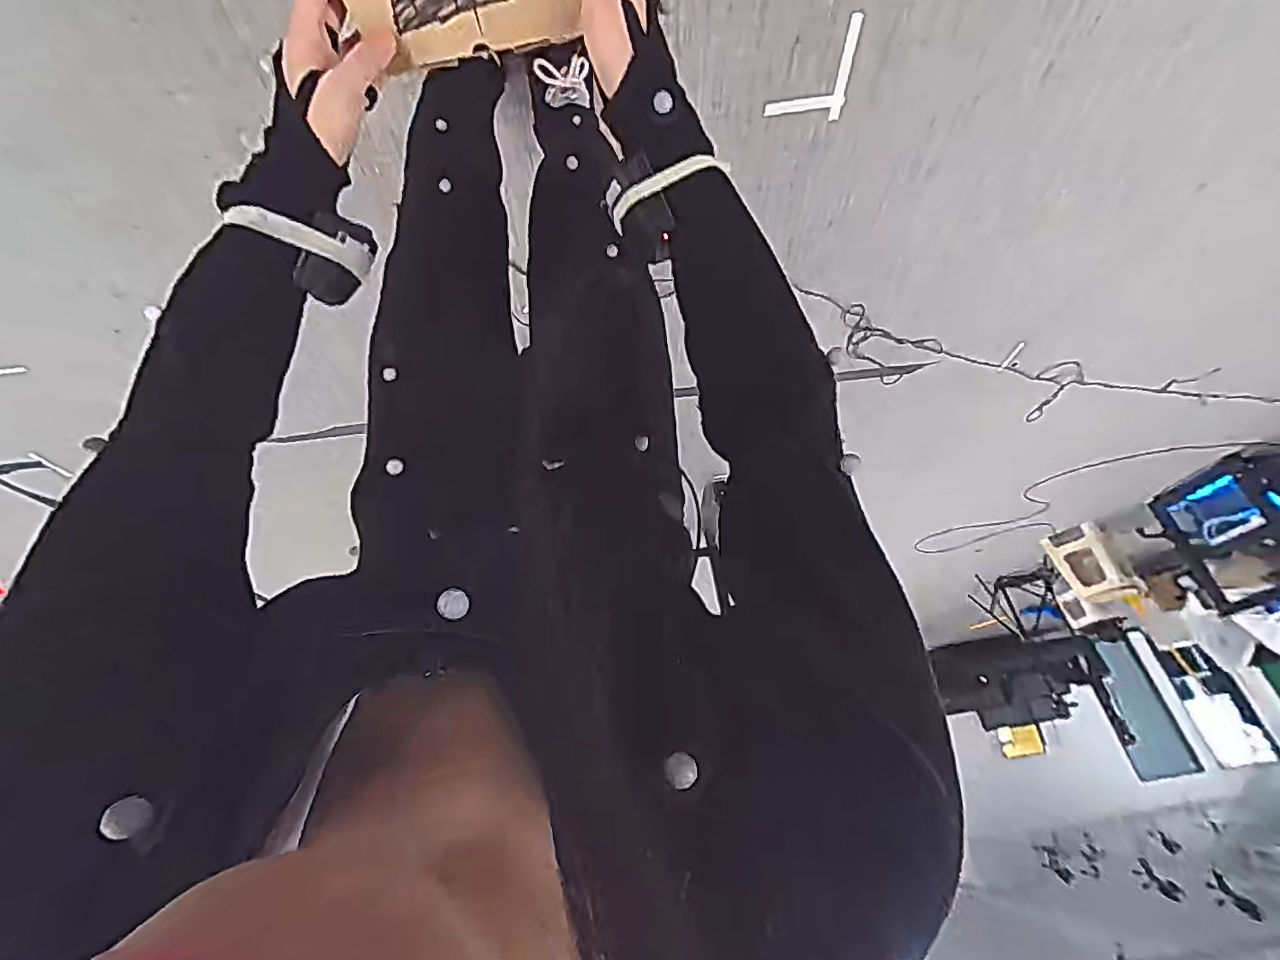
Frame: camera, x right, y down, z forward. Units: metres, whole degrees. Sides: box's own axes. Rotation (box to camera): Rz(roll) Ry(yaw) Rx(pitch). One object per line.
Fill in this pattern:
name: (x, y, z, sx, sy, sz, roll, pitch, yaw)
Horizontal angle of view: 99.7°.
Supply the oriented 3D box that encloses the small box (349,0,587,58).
small box: (-0.124, -0.429, 0.357, 0.168, 0.176, 0.179, -3, 148, 10)
